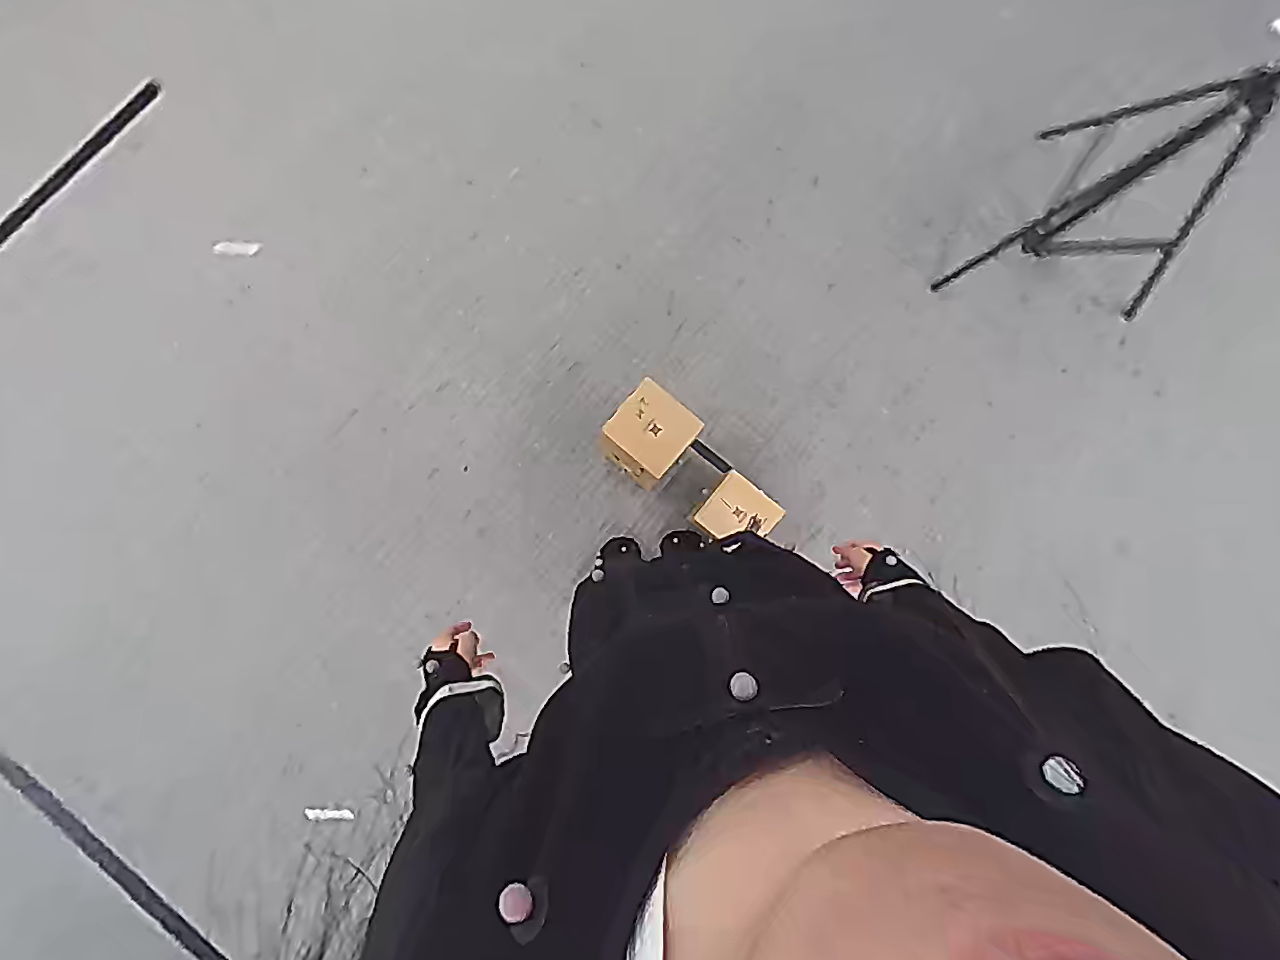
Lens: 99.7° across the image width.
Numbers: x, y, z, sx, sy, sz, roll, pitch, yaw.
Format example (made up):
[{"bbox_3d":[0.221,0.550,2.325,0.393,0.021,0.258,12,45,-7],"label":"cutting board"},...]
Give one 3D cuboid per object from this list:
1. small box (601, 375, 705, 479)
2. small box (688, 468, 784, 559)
[{"bbox_3d":[0.028,-0.116,1.288,0.179,0.176,0.168,41,85,2],"label":"small box"},{"bbox_3d":[0.248,0.089,1.443,0.179,0.176,0.168,40,85,3],"label":"small box"}]
